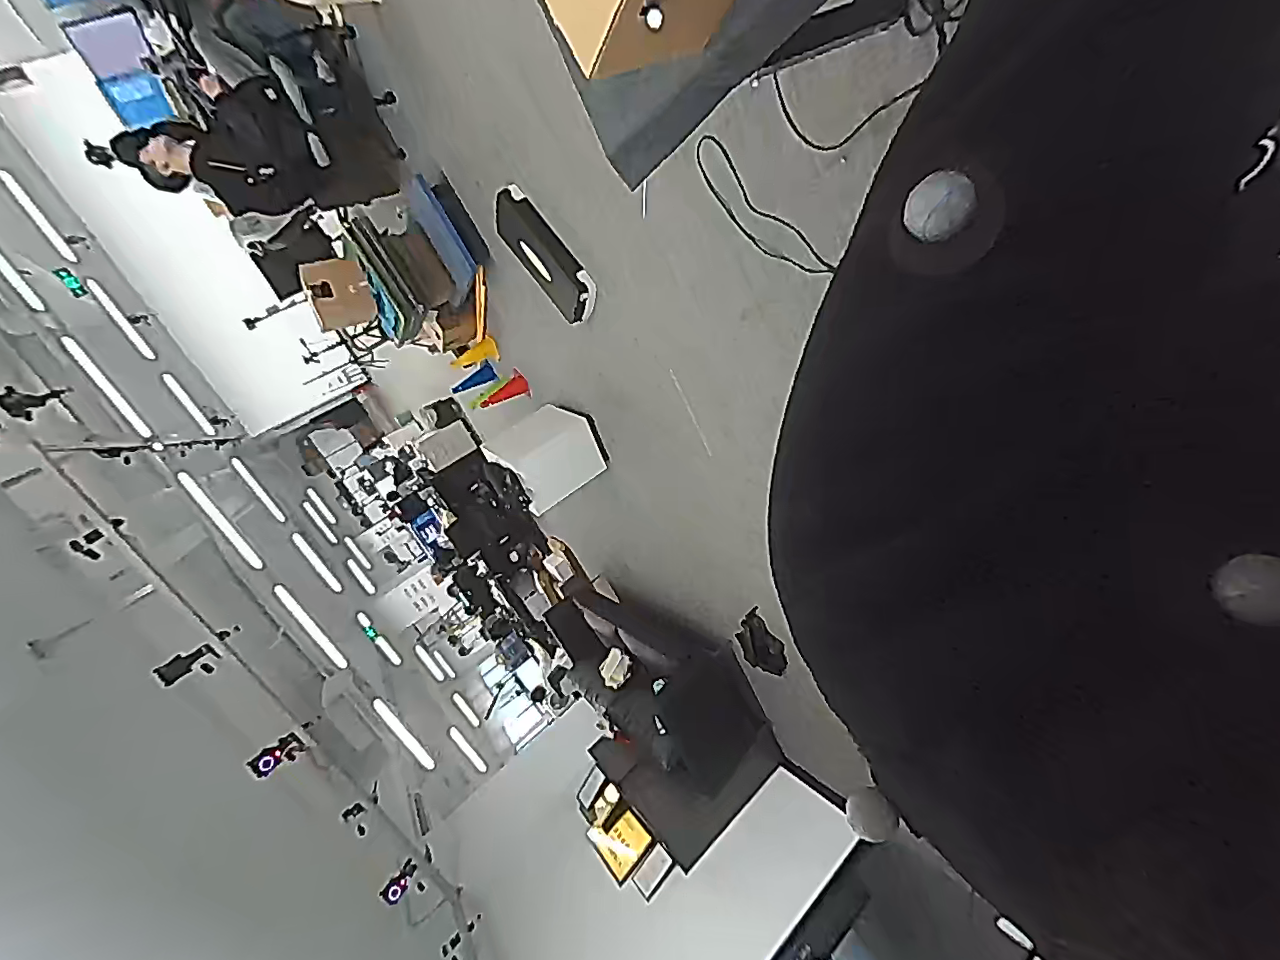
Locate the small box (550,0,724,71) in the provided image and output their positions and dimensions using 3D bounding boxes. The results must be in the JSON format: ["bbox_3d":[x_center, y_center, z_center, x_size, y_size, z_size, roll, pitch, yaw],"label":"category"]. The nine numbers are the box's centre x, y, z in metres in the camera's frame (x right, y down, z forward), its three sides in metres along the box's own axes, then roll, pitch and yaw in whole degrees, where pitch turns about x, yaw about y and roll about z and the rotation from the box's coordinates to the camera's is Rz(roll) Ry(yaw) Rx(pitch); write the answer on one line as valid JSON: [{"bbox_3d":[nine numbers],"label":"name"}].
[{"bbox_3d":[0.004,-0.536,0.495,0.168,0.176,0.179,59,157,-9],"label":"small box"}]
